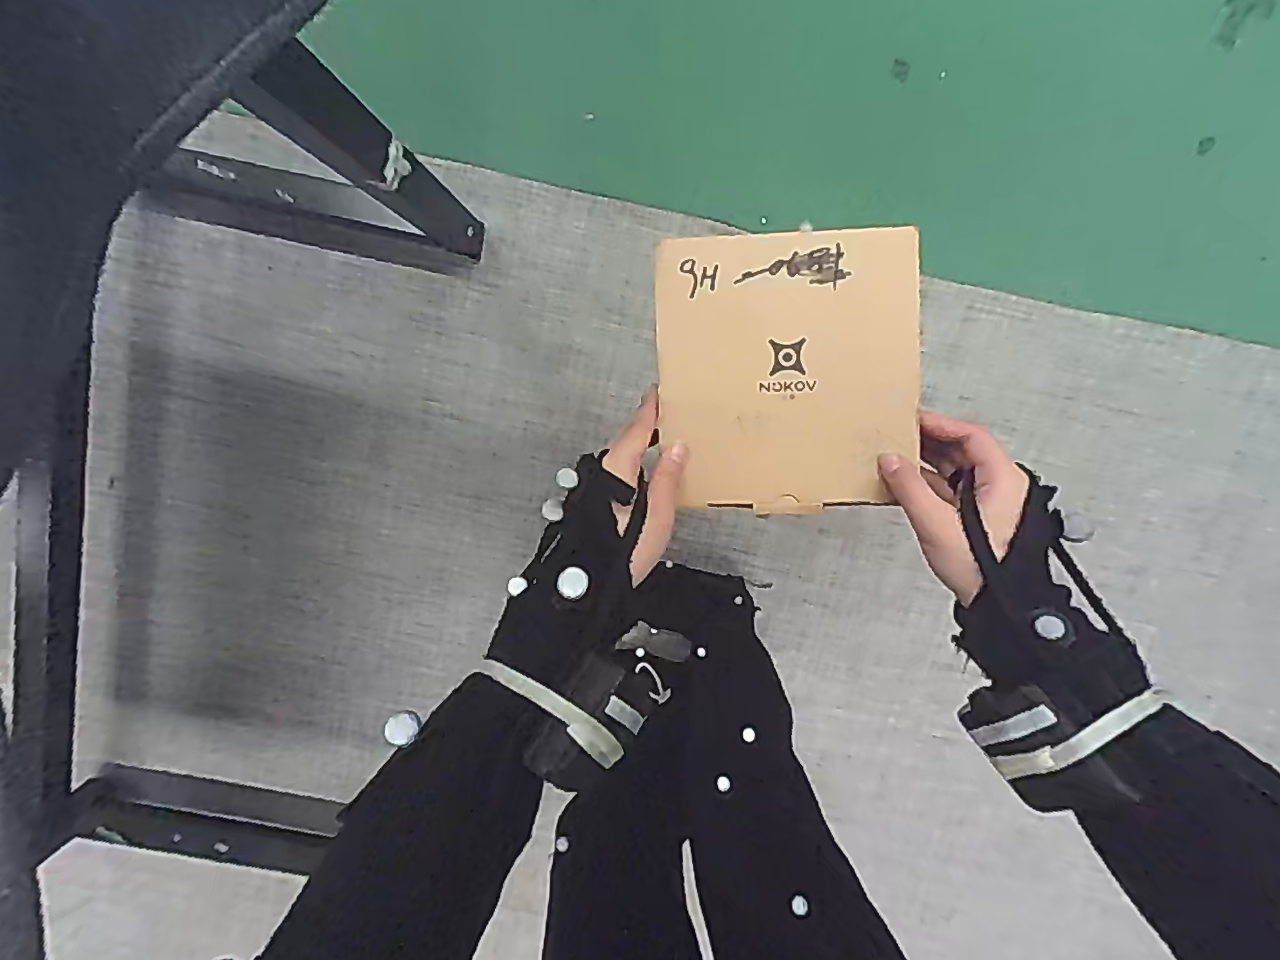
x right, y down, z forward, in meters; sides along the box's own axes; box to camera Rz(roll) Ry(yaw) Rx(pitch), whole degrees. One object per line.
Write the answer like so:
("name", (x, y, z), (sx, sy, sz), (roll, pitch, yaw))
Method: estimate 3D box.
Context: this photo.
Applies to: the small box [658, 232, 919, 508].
("small box", (0.098, -0.075, 0.428), (0.168, 0.176, 0.179), (-1, 93, 2))
